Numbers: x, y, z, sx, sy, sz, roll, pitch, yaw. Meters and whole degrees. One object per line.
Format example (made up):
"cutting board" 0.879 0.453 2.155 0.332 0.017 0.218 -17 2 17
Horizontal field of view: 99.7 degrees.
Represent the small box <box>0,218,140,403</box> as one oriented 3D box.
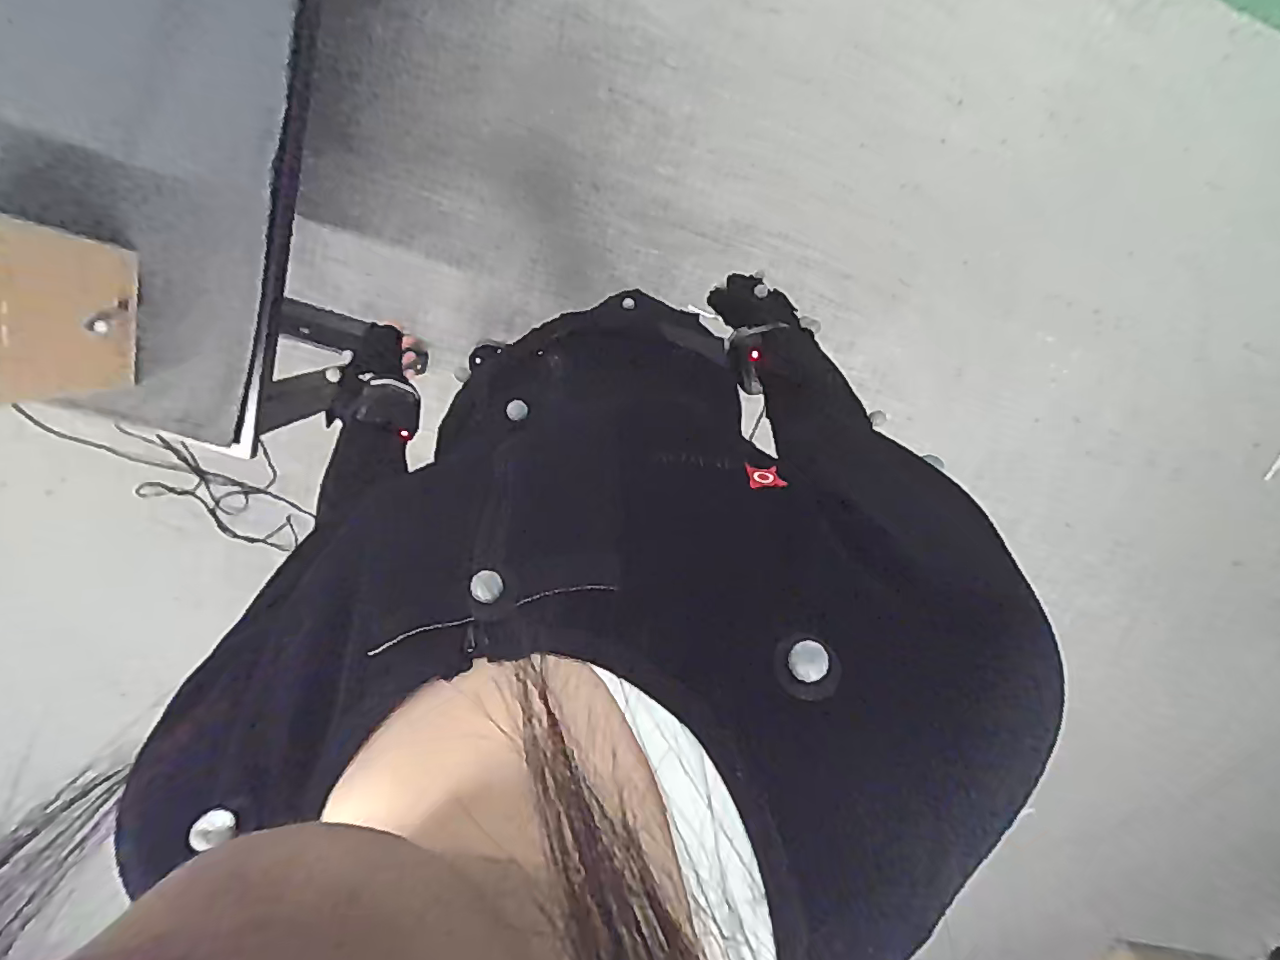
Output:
"small box" -0.685 -0.183 0.560 0.179 0.176 0.168 15 106 -6
